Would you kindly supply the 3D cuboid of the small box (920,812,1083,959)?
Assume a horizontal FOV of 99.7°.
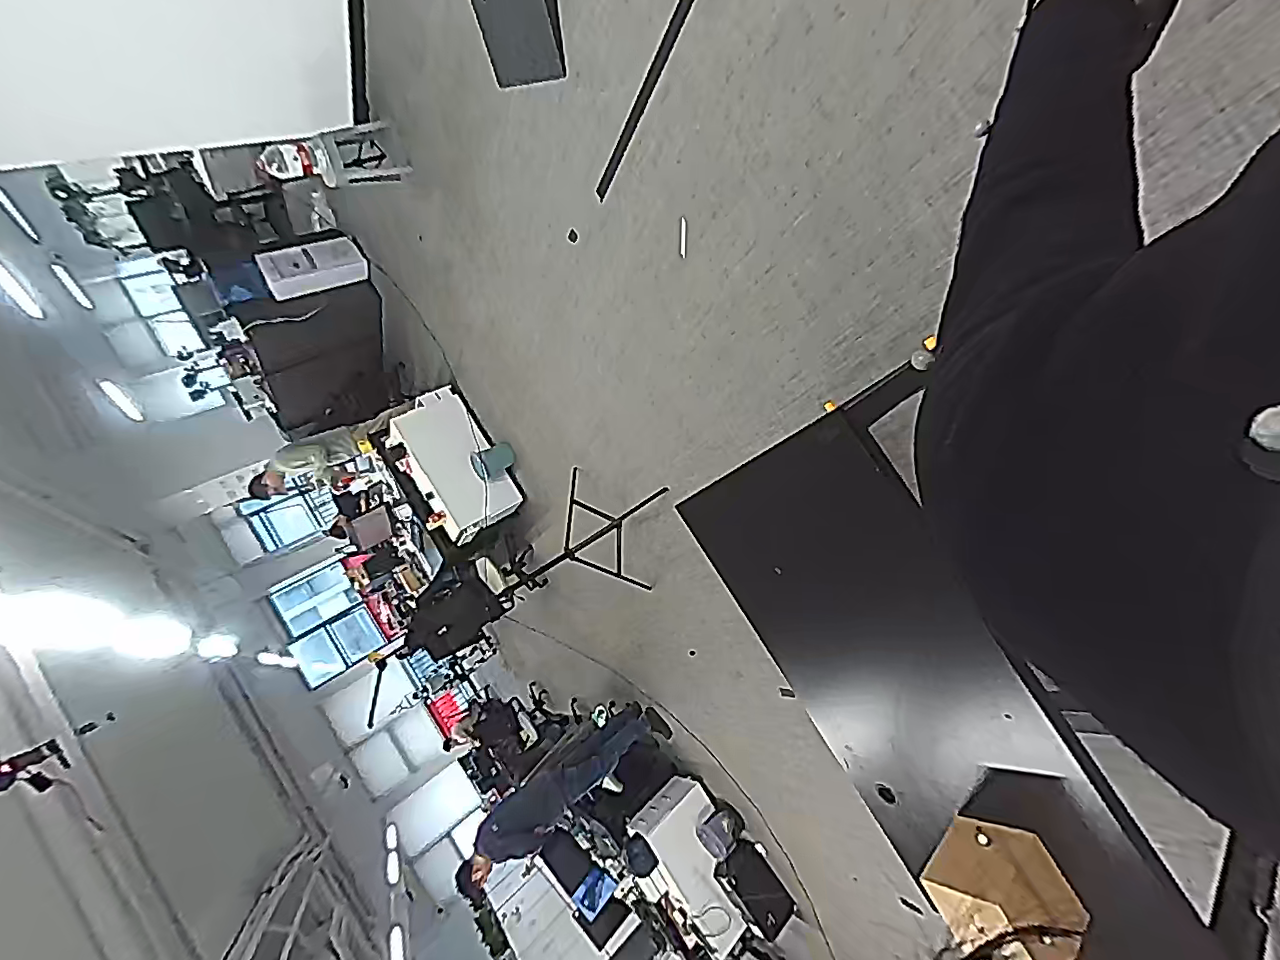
[{"bbox_3d":[0.686,0.780,1.026,0.179,0.176,0.168,58,149,4],"label":"small box"}]
